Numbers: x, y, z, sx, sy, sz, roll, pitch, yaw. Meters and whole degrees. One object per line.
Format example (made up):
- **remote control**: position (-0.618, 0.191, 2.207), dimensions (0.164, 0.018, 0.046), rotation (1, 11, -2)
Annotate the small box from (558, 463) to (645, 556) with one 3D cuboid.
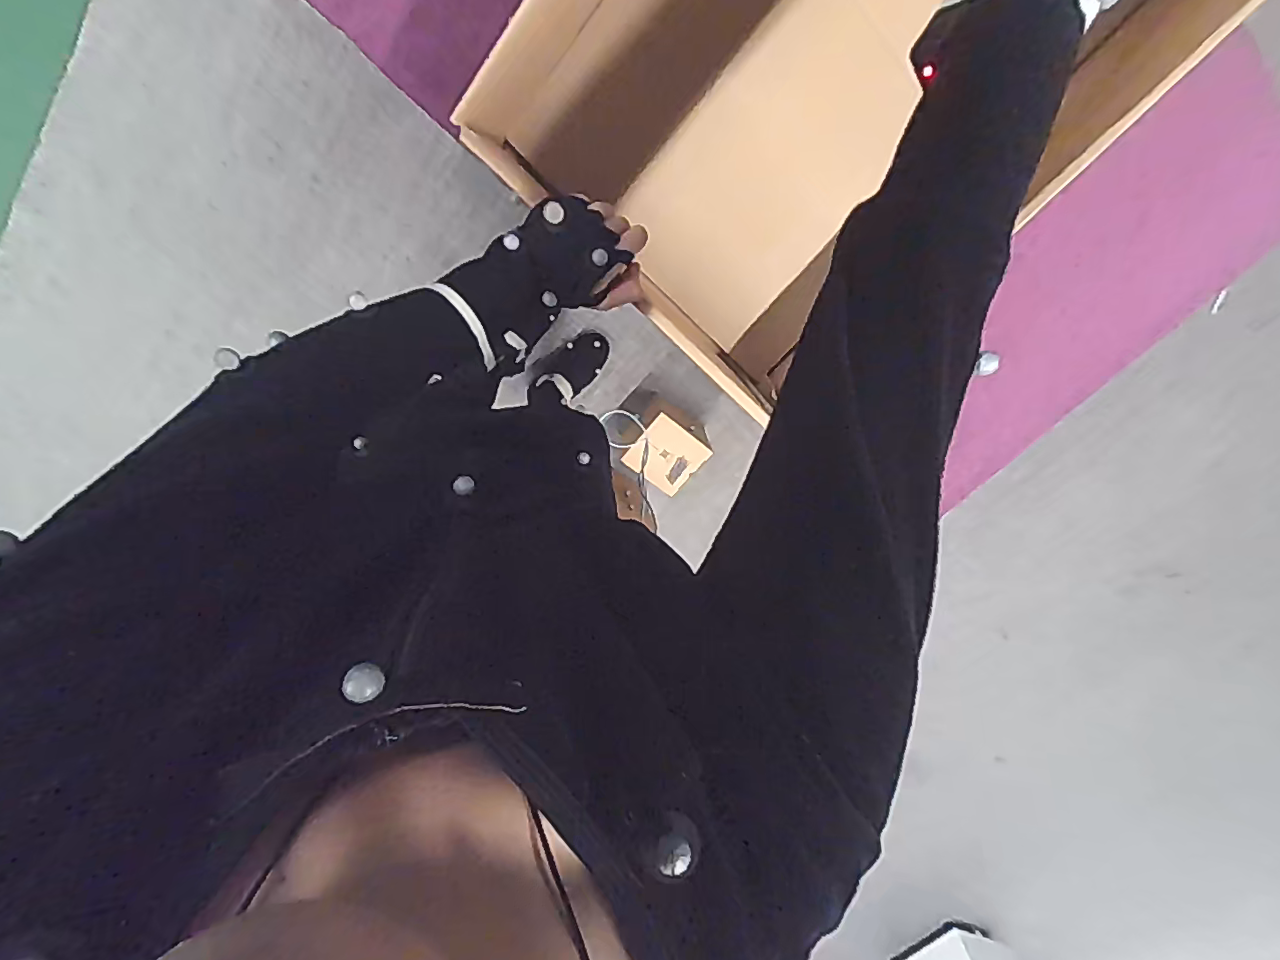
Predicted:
- **small box**: position (-0.109, 0.074, 1.513), dimensions (0.179, 0.176, 0.168), rotation (32, 110, -18)
